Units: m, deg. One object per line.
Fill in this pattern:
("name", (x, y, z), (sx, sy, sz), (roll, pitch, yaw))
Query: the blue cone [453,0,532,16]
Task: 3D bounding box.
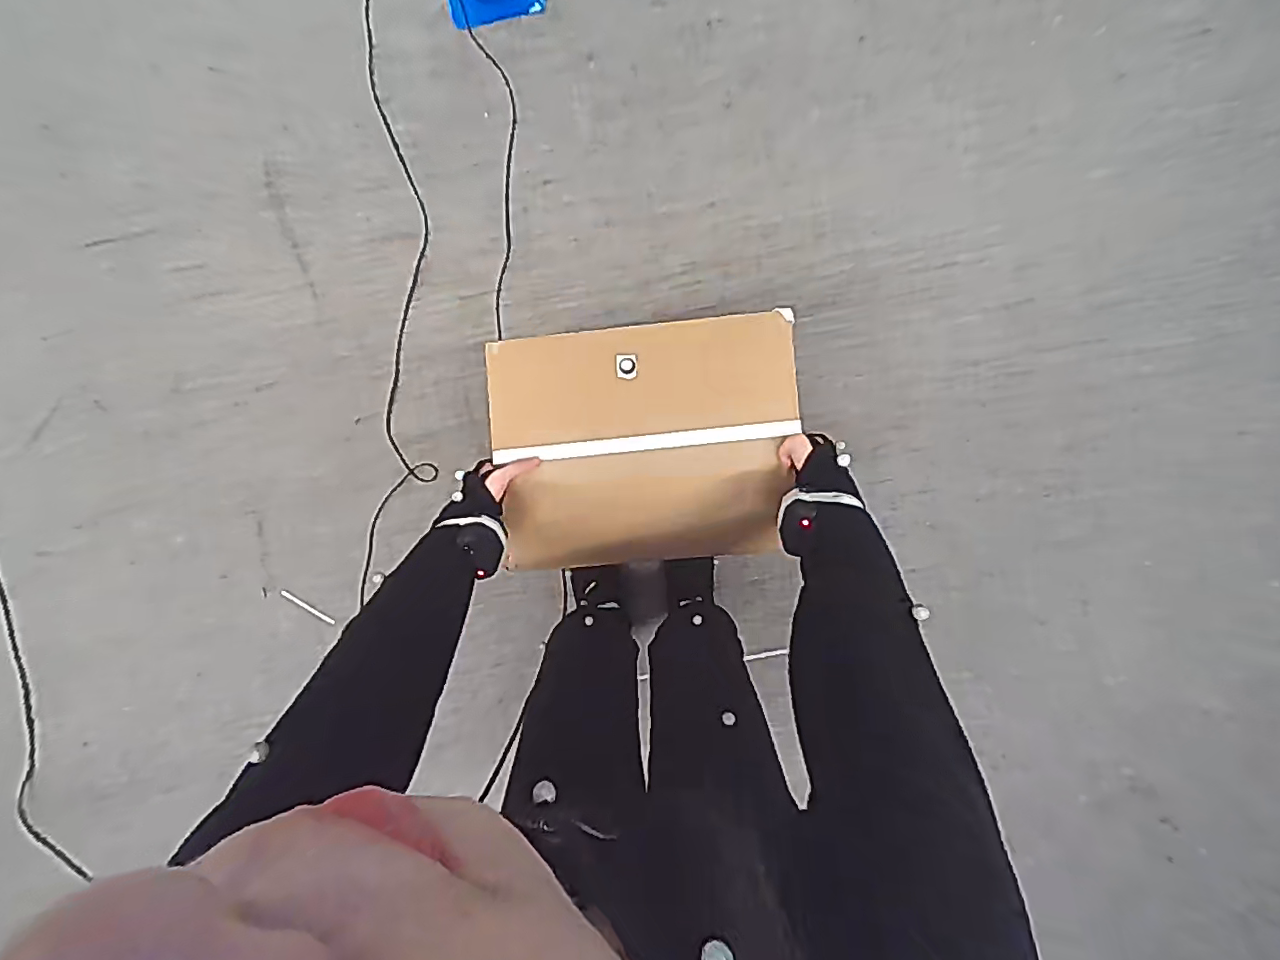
("blue cone", (-0.293, -1.012, 0.900), (0.193, 0.380, 0.192), (-13, 97, 0))
